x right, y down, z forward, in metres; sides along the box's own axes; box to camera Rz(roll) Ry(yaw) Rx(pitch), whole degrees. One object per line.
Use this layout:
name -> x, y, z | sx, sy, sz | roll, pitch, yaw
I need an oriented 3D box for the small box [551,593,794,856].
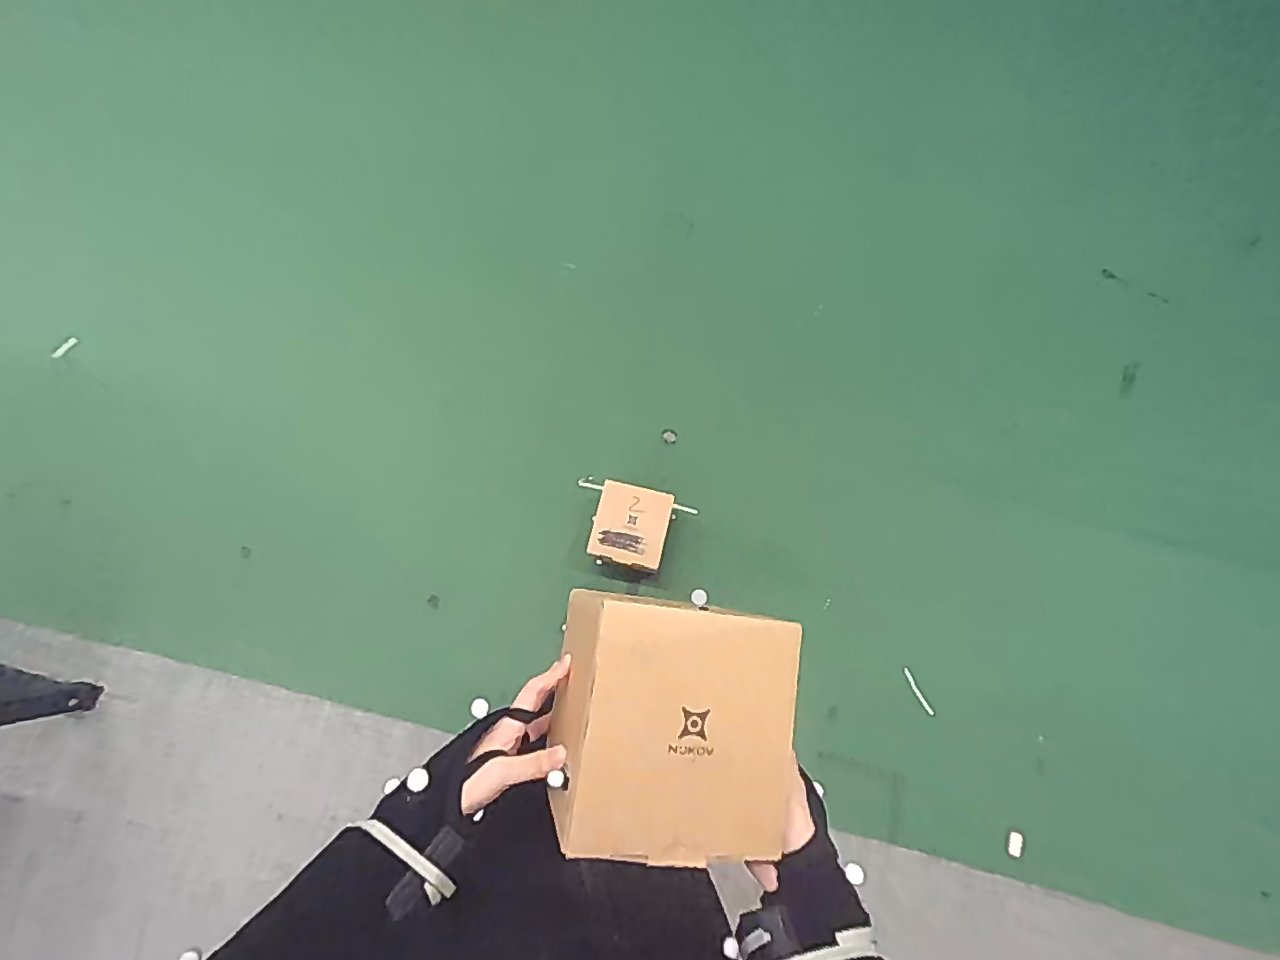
small box -> 0.017, 0.199, 0.482 | 0.168, 0.176, 0.179 | 9, 80, -13
